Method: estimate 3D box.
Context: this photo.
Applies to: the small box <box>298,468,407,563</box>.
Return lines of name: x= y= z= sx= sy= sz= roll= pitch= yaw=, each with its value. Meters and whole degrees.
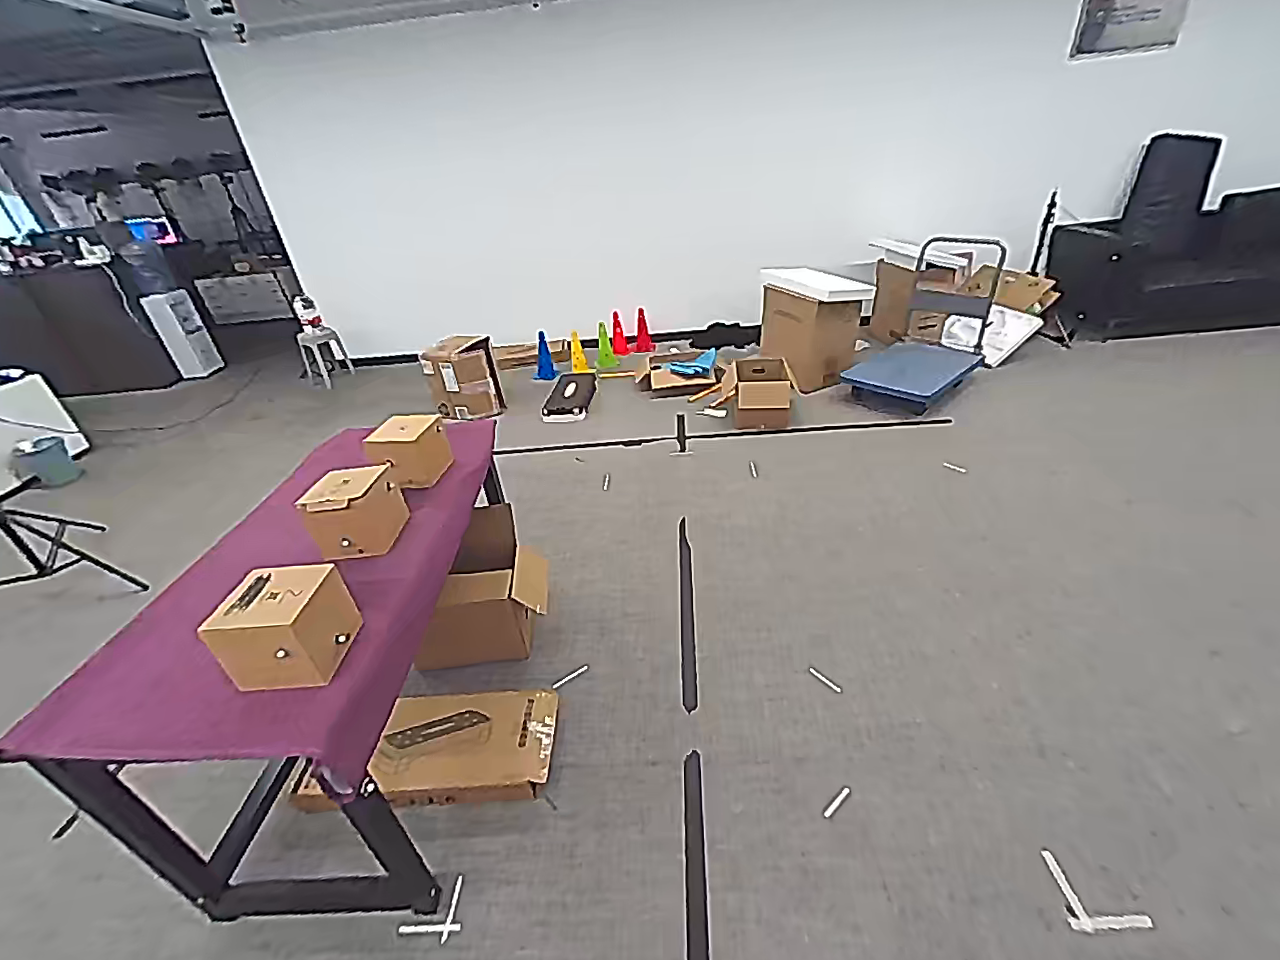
small box: x=-0.727 y=0.090 z=1.393 sx=0.168 sy=0.176 sz=0.179 roll=-7 pitch=31 yaw=4

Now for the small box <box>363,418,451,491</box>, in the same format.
small box: x=-0.704 y=-0.076 z=1.664 sx=0.168 sy=0.176 sz=0.179 roll=-1 pitch=31 yaw=9
